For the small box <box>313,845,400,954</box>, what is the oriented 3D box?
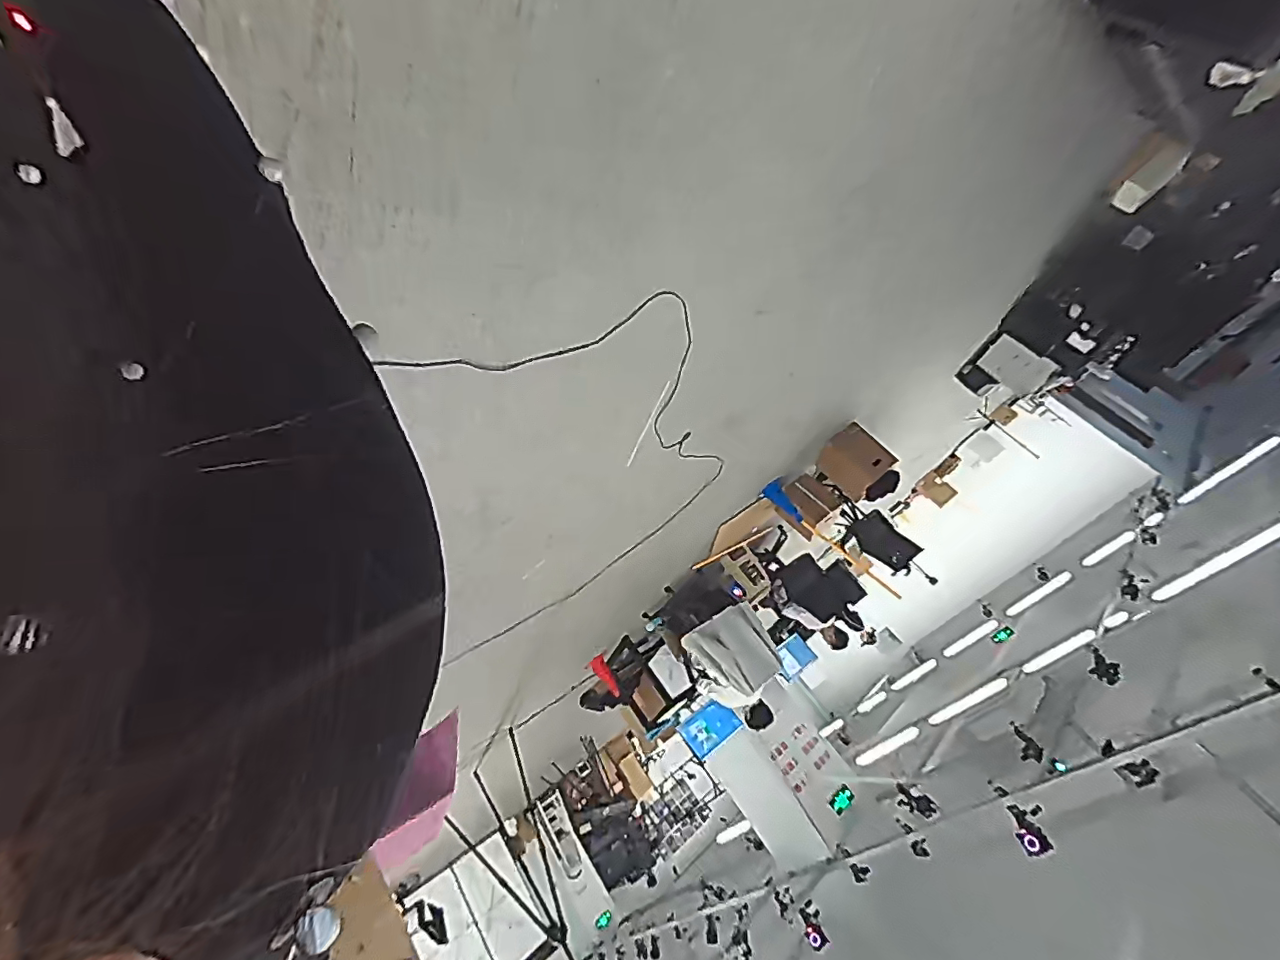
[{"bbox_3d":[-0.779,1.146,1.485,0.168,0.176,0.179,-20,149,-39],"label":"small box"}]
